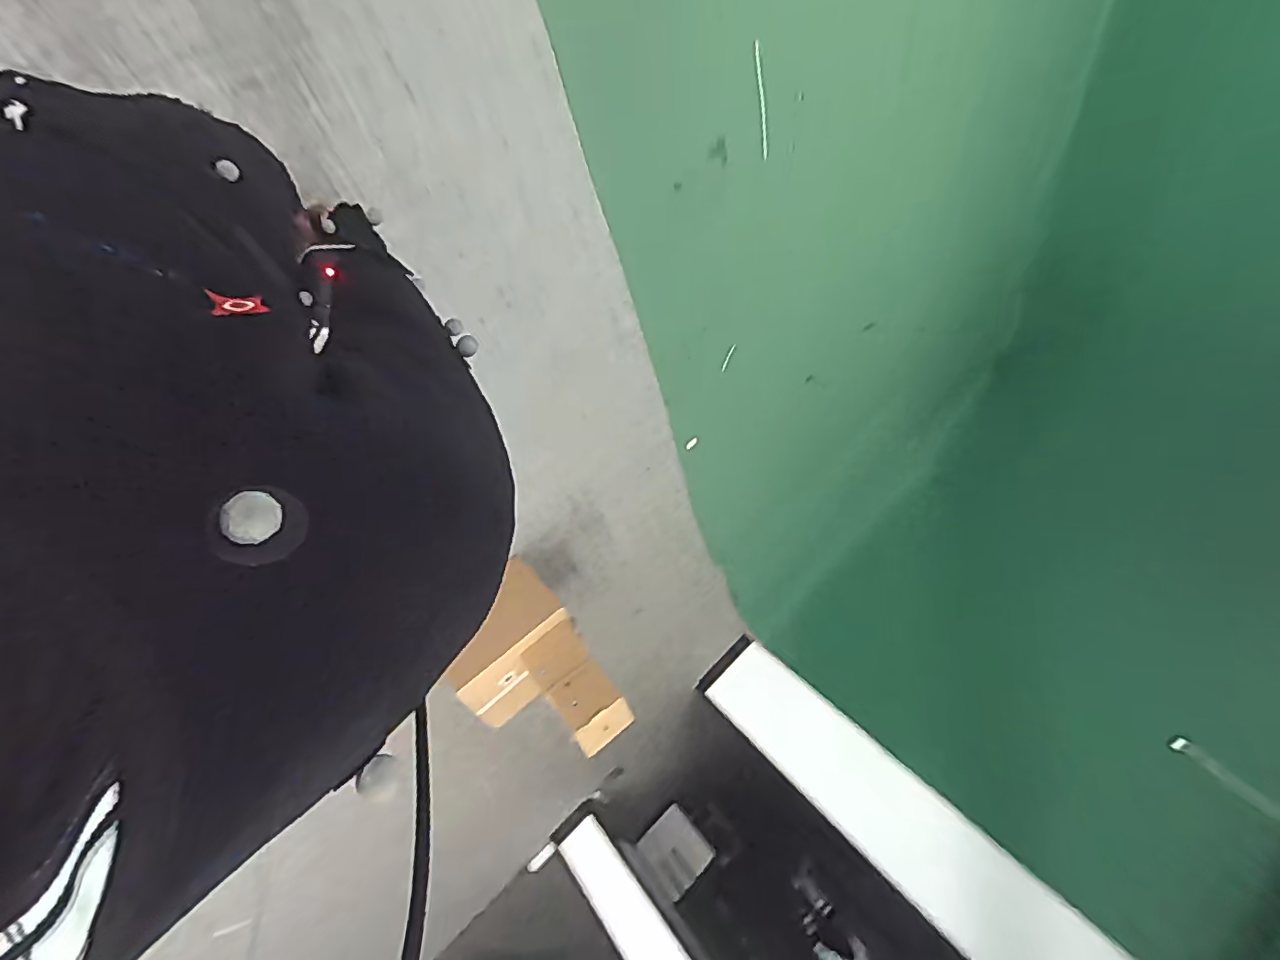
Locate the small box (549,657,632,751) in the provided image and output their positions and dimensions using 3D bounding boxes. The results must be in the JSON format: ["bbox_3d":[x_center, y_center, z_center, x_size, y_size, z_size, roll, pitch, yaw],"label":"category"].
[{"bbox_3d":[-0.148,0.660,1.611,0.168,0.176,0.179,-34,139,-19],"label":"small box"}]

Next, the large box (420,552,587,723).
[{"bbox_3d":[-0.460,0.531,1.854,0.408,0.320,0.320,-37,138,-18],"label":"large box"}]
